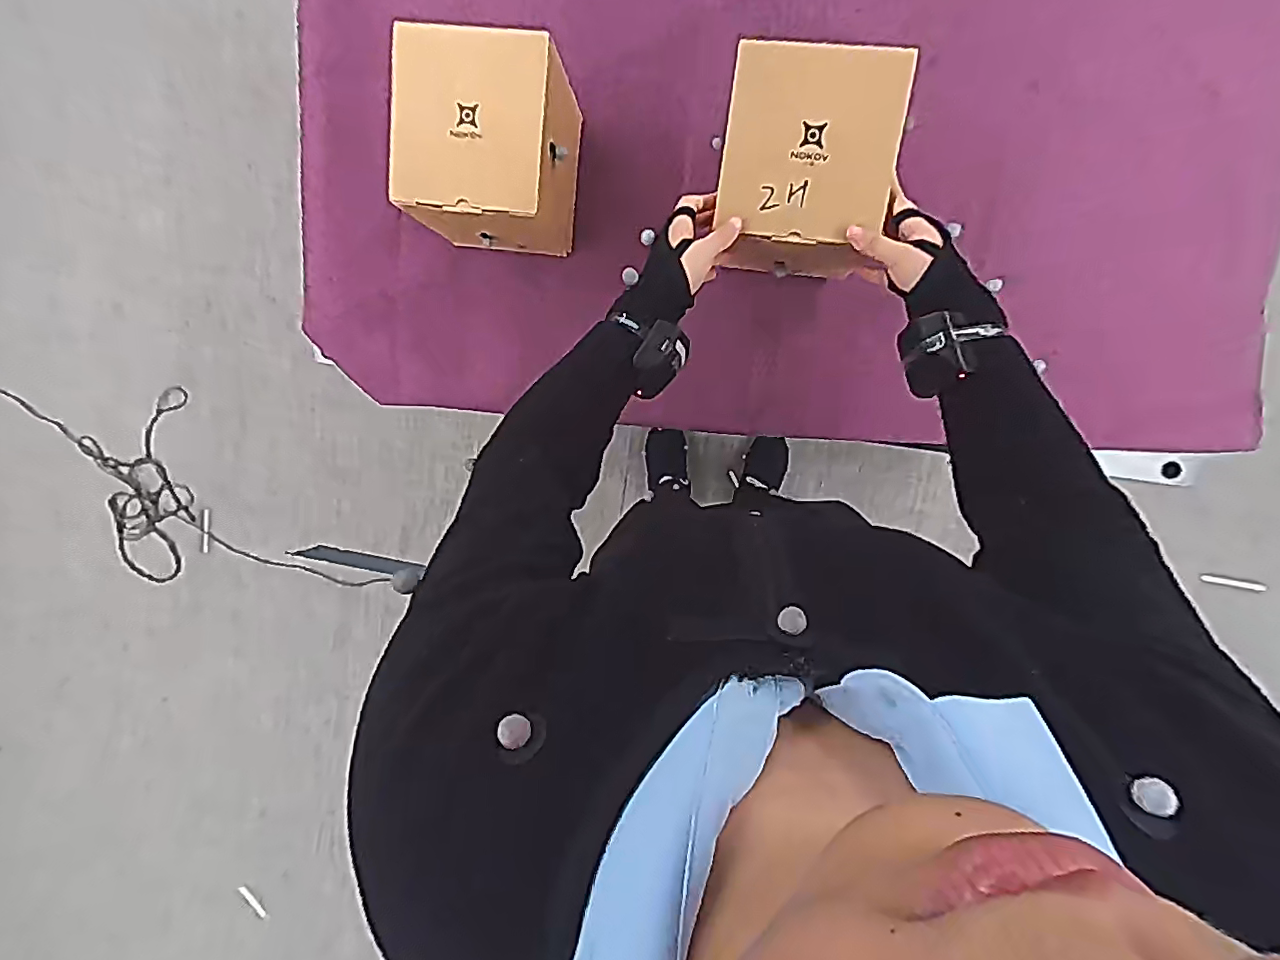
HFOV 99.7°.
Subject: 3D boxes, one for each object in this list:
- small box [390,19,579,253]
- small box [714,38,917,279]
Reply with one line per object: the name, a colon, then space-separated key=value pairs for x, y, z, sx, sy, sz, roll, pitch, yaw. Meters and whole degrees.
small box: x=-0.171 y=-0.387 z=0.637 sx=0.168 sy=0.176 sz=0.179 roll=7 pitch=101 yaw=4
small box: x=0.176 y=-0.337 z=0.599 sx=0.168 sy=0.176 sz=0.179 roll=9 pitch=102 yaw=7
